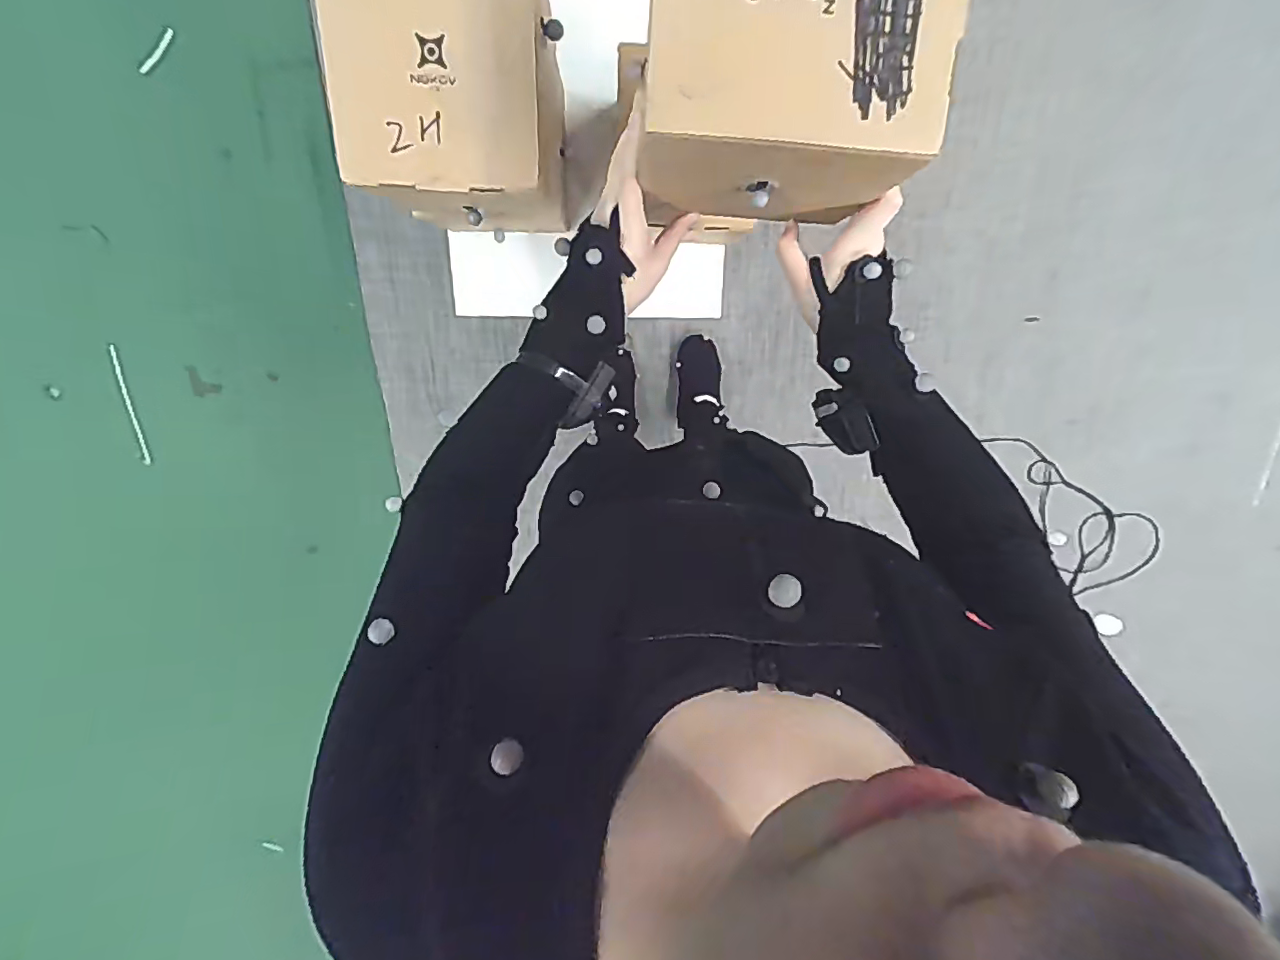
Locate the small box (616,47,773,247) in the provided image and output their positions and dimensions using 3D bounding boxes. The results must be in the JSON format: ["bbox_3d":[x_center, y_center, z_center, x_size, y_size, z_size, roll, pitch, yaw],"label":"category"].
[{"bbox_3d":[0.055,-0.395,0.671,0.168,0.176,0.179,2,110,-1],"label":"small box"}]

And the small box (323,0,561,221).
[{"bbox_3d":[-0.165,-0.352,0.504,0.168,0.176,0.179,1,109,-2],"label":"small box"}]

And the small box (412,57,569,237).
[{"bbox_3d":[-0.176,-0.402,0.661,0.168,0.176,0.179,0,110,-2],"label":"small box"}]
